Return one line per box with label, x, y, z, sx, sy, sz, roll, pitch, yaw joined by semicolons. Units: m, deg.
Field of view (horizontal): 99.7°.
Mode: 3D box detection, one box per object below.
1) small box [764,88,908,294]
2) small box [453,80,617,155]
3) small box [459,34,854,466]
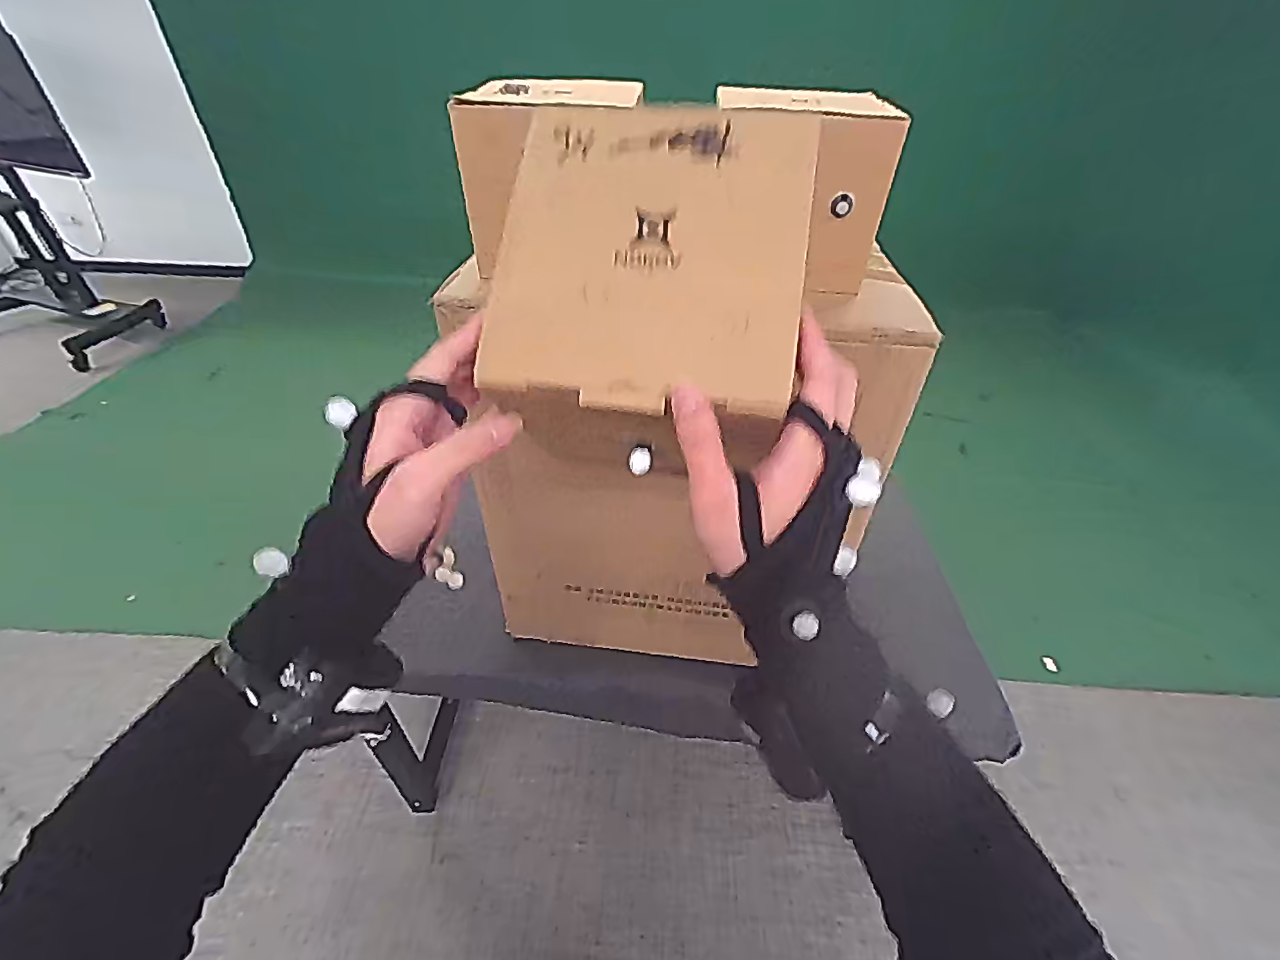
small box;0.169;-0.325;0.611;0.179;0.176;0.168;6;42;5
small box;-0.082;-0.341;0.618;0.179;0.176;0.168;4;45;5
small box;0.013;-0.128;0.364;0.179;0.176;0.168;-23;73;4
